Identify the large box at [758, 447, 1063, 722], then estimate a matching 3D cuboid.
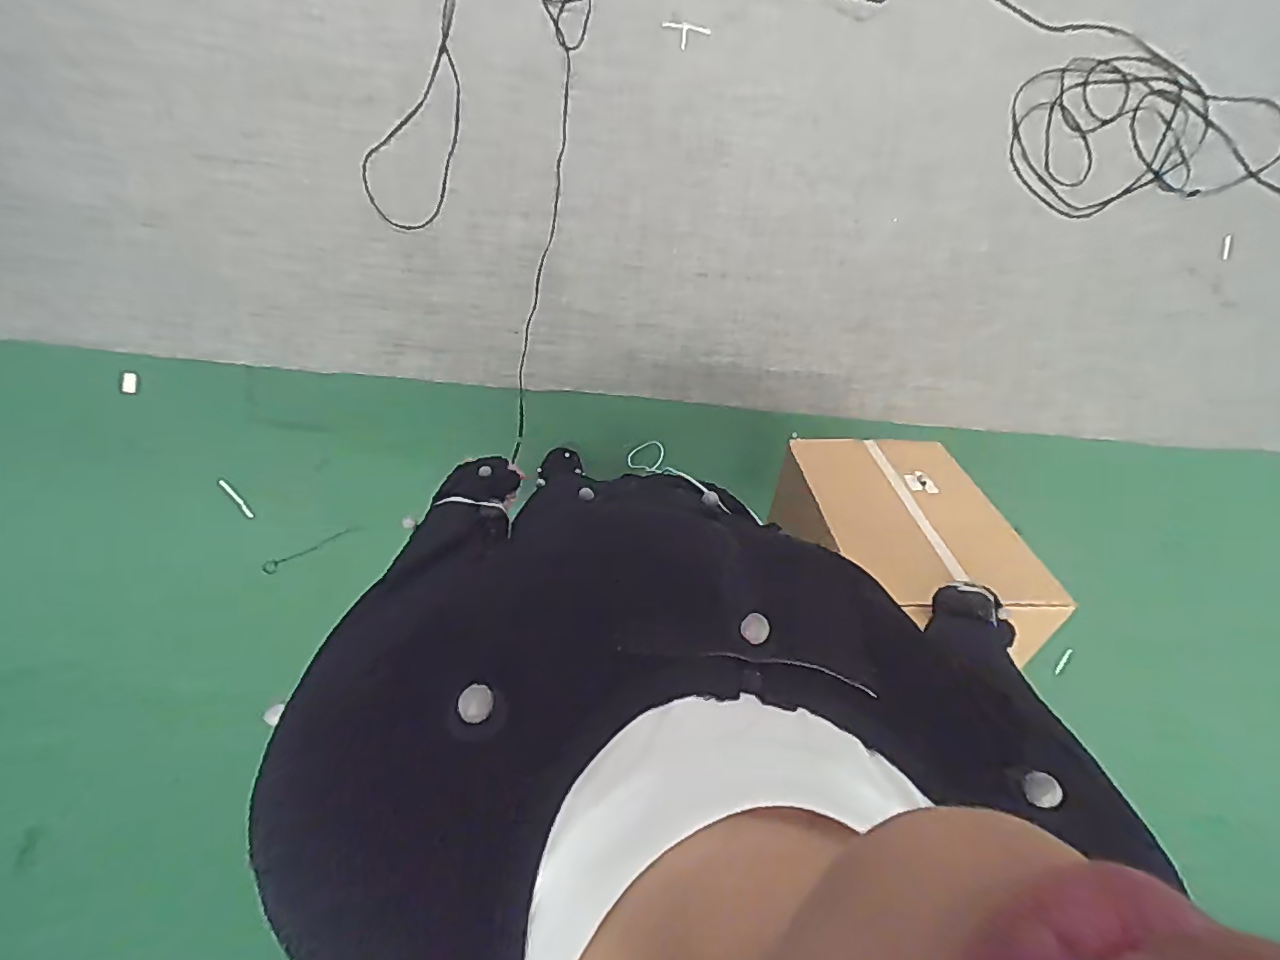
[{"bbox_3d":[0.439,0.180,1.006,0.320,0.408,0.320,2,127,-5],"label":"large box"}]
